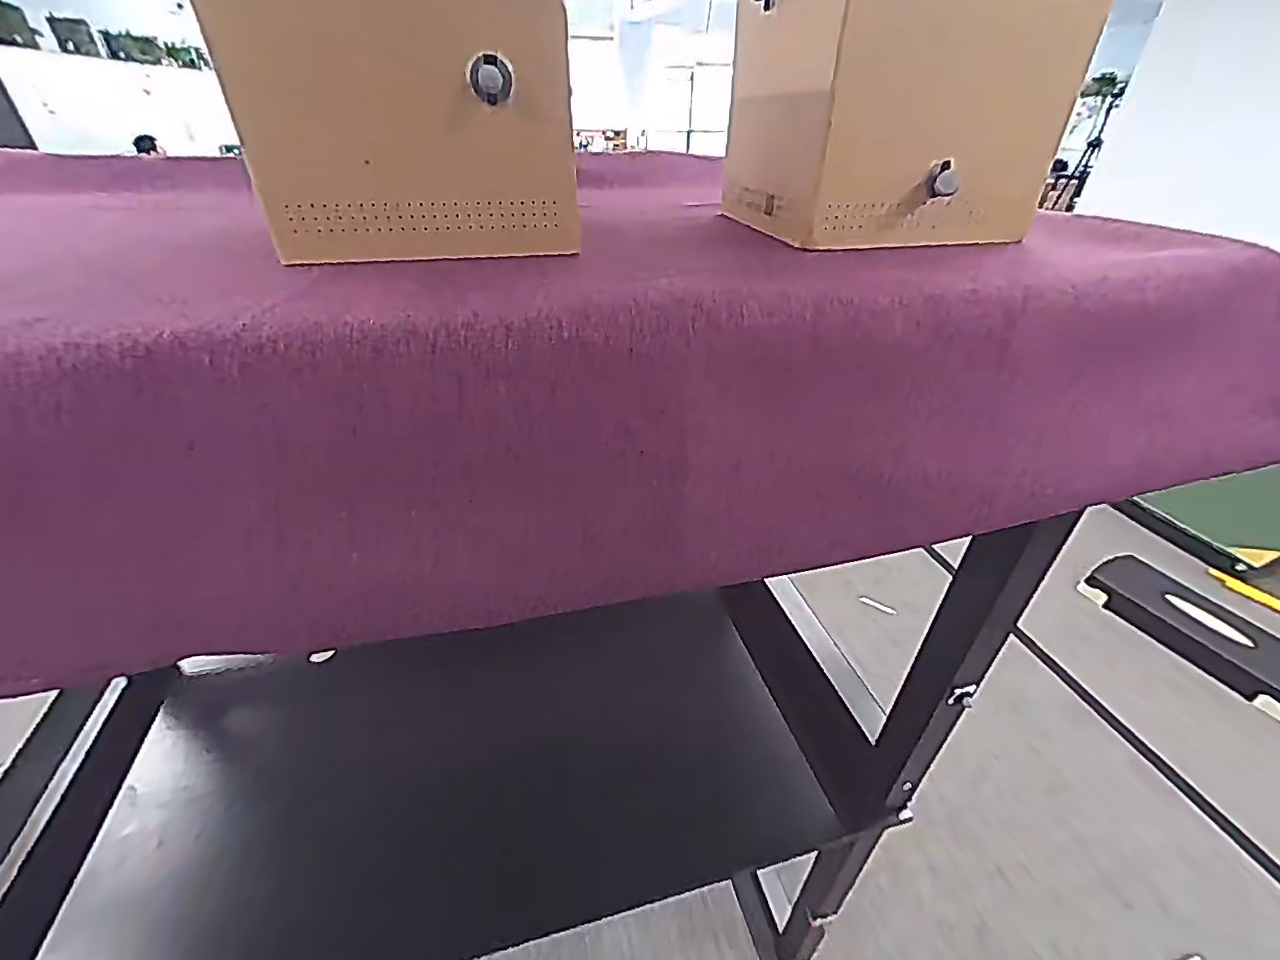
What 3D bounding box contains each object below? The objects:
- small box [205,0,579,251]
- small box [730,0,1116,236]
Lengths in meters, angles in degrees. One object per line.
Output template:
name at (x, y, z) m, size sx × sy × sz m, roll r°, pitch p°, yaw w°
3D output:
small box at (-0.134, -0.251, 0.344) m, size 0.179 × 0.176 × 0.168 m, roll -7°, pitch 34°, yaw -11°
small box at (0.179, -0.280, 0.387) m, size 0.179 × 0.176 × 0.168 m, roll -7°, pitch 34°, yaw -11°
